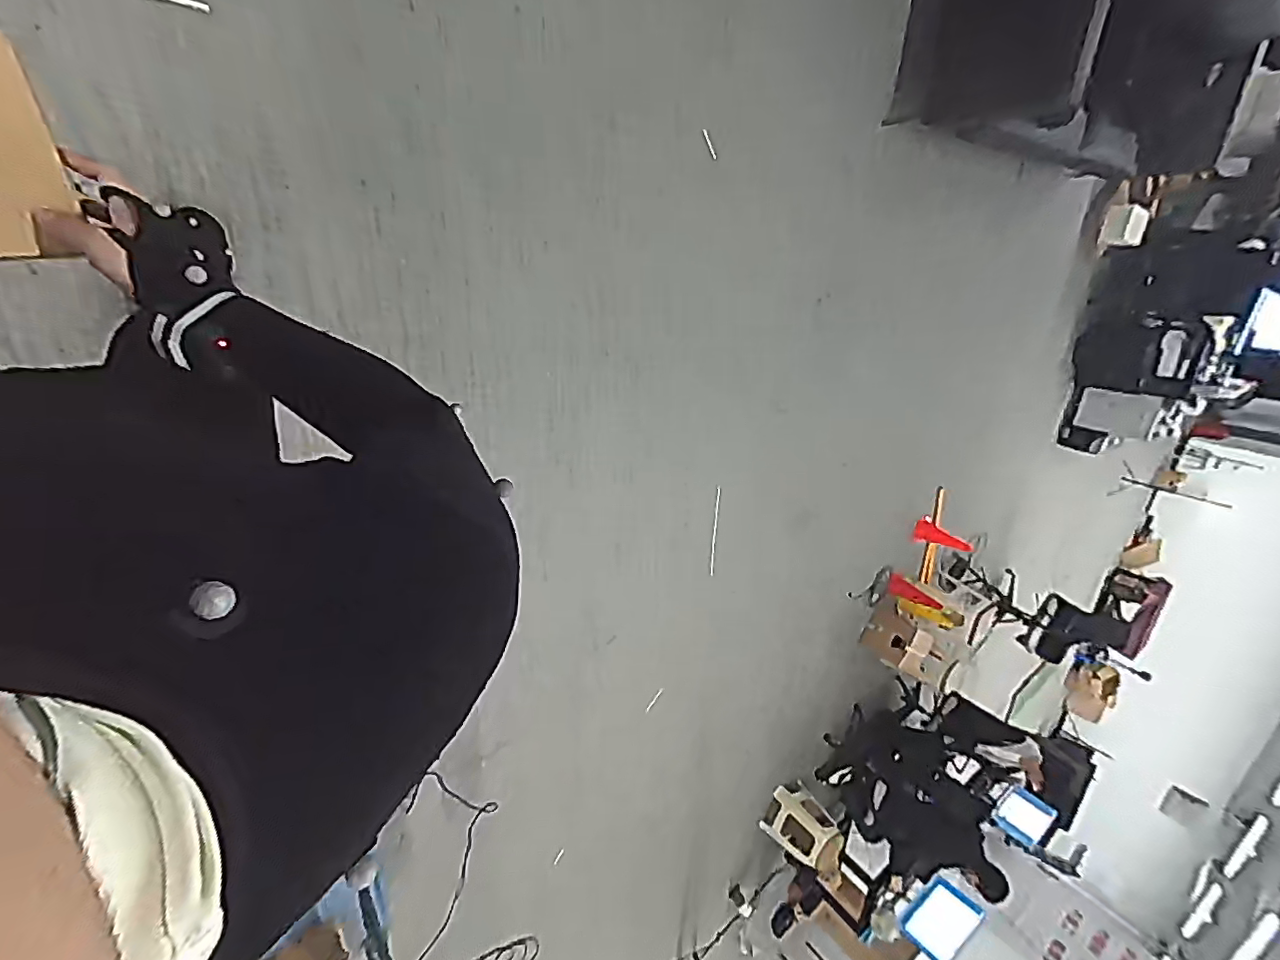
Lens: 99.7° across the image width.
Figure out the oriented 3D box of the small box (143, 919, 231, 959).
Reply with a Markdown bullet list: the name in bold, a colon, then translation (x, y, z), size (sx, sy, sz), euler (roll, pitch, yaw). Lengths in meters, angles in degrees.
- **small box**: translation (-1.205, 1.332, 1.442), size (0.168, 0.176, 0.179), euler (-12, 116, -35)

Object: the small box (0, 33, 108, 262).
- **small box**: translation (-0.621, -0.284, 0.479), size (0.179, 0.176, 0.168), euler (-23, 121, -36)
